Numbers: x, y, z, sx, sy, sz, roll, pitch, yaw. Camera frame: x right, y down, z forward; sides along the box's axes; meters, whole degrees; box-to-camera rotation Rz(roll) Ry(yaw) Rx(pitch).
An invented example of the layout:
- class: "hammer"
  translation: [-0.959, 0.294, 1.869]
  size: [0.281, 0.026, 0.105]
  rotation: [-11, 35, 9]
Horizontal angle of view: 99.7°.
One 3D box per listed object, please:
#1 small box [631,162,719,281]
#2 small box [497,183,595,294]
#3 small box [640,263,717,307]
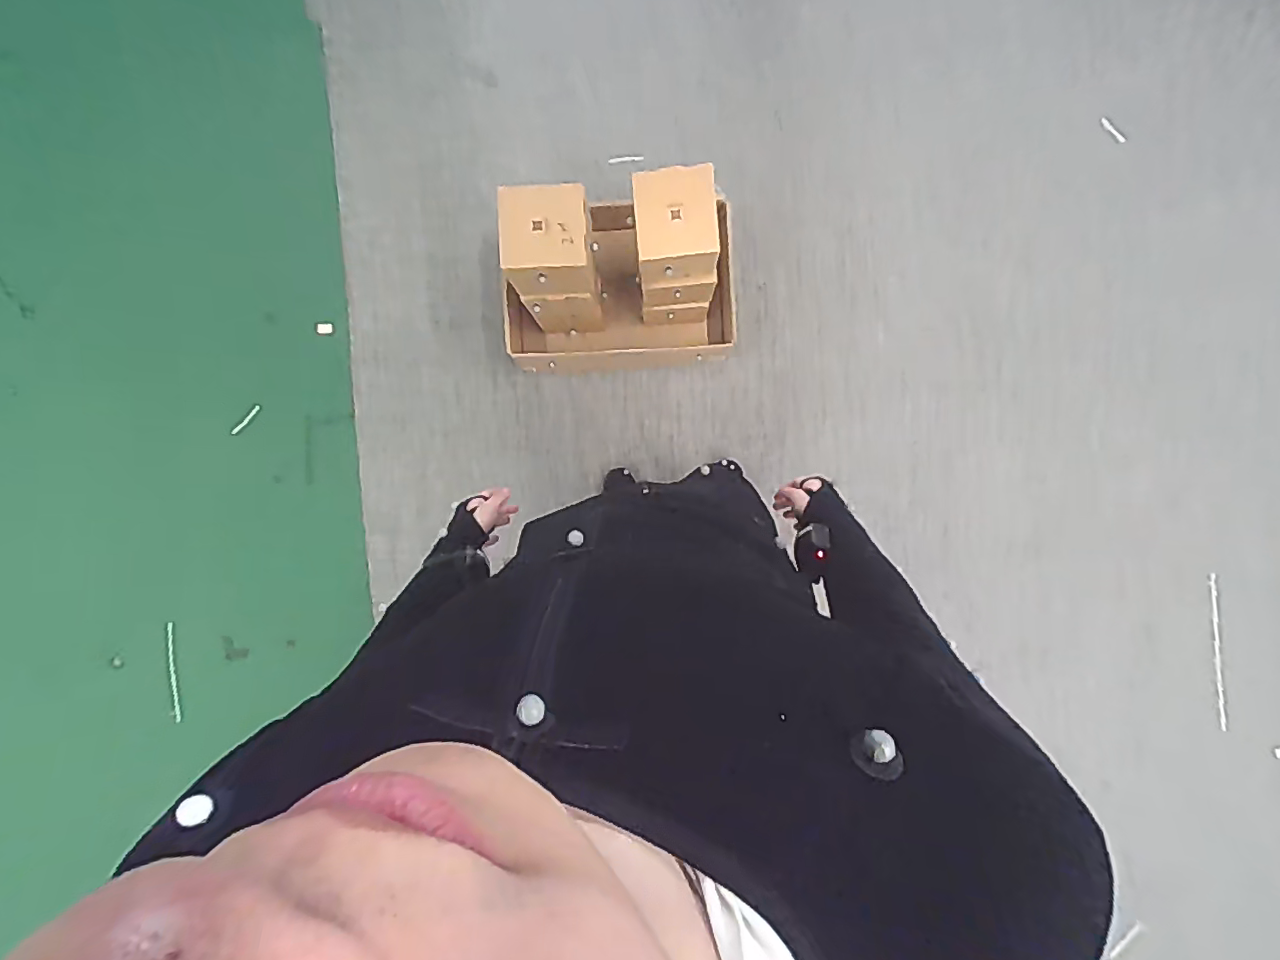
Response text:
- class: "small box"
  translation: [0.075, -0.535, 1.148]
  size: [0.168, 0.176, 0.179]
  rotation: [-6, 92, 3]
- class: "small box"
  translation: [-0.194, -0.505, 1.150]
  size: [0.179, 0.176, 0.168]
  rotation: [-2, 91, 1]
- class: "small box"
  translation: [0.088, -0.528, 1.310]
  size: [0.179, 0.176, 0.168]
  rotation: [-5, 93, 2]
